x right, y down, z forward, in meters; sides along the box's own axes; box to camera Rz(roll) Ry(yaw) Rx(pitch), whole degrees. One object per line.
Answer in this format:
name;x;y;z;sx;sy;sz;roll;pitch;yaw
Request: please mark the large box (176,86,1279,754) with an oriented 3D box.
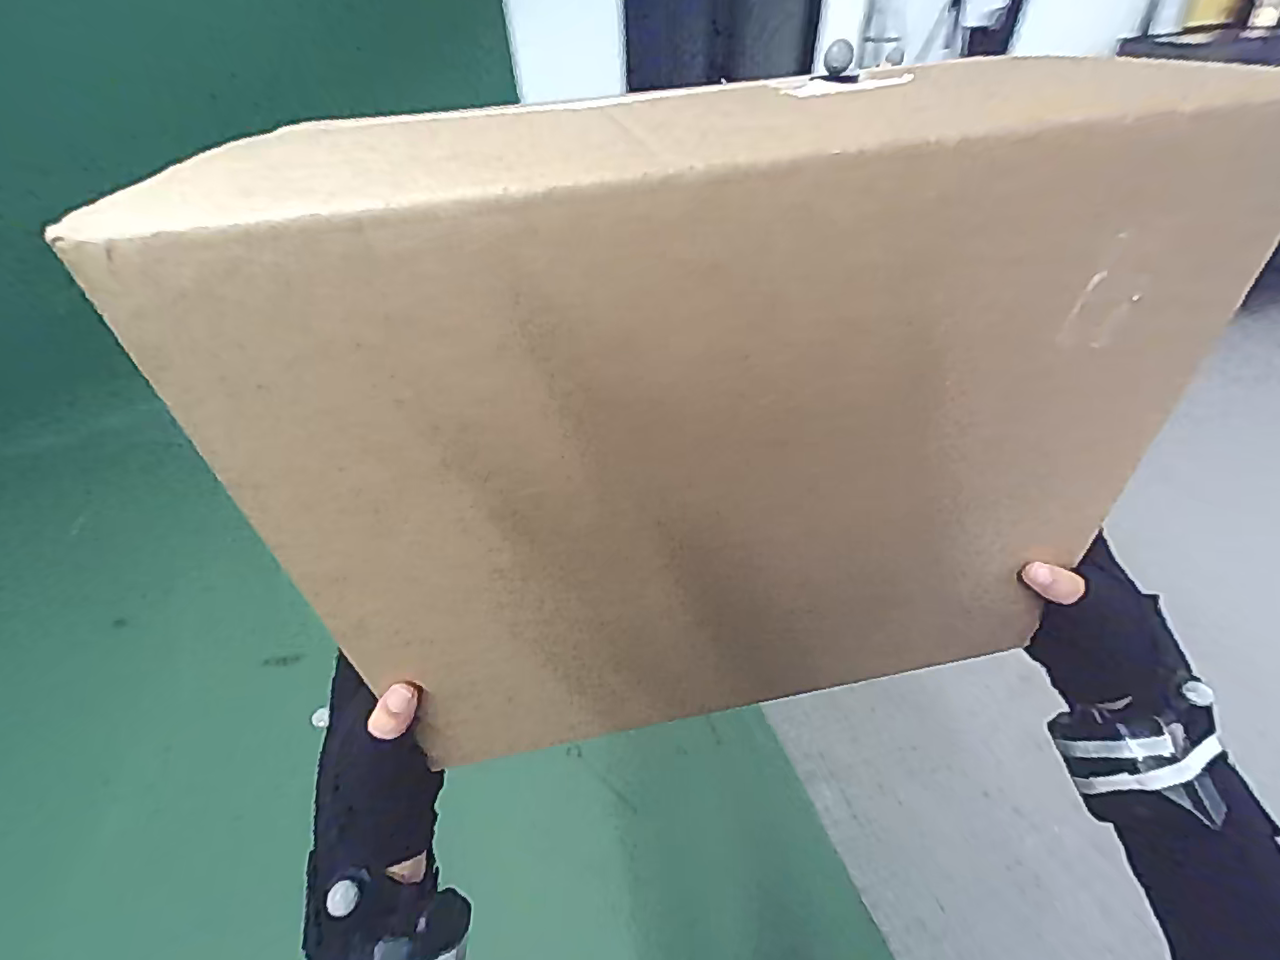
large box;0.044;-0.065;0.376;0.408;0.320;0.320;-8;39;-6
